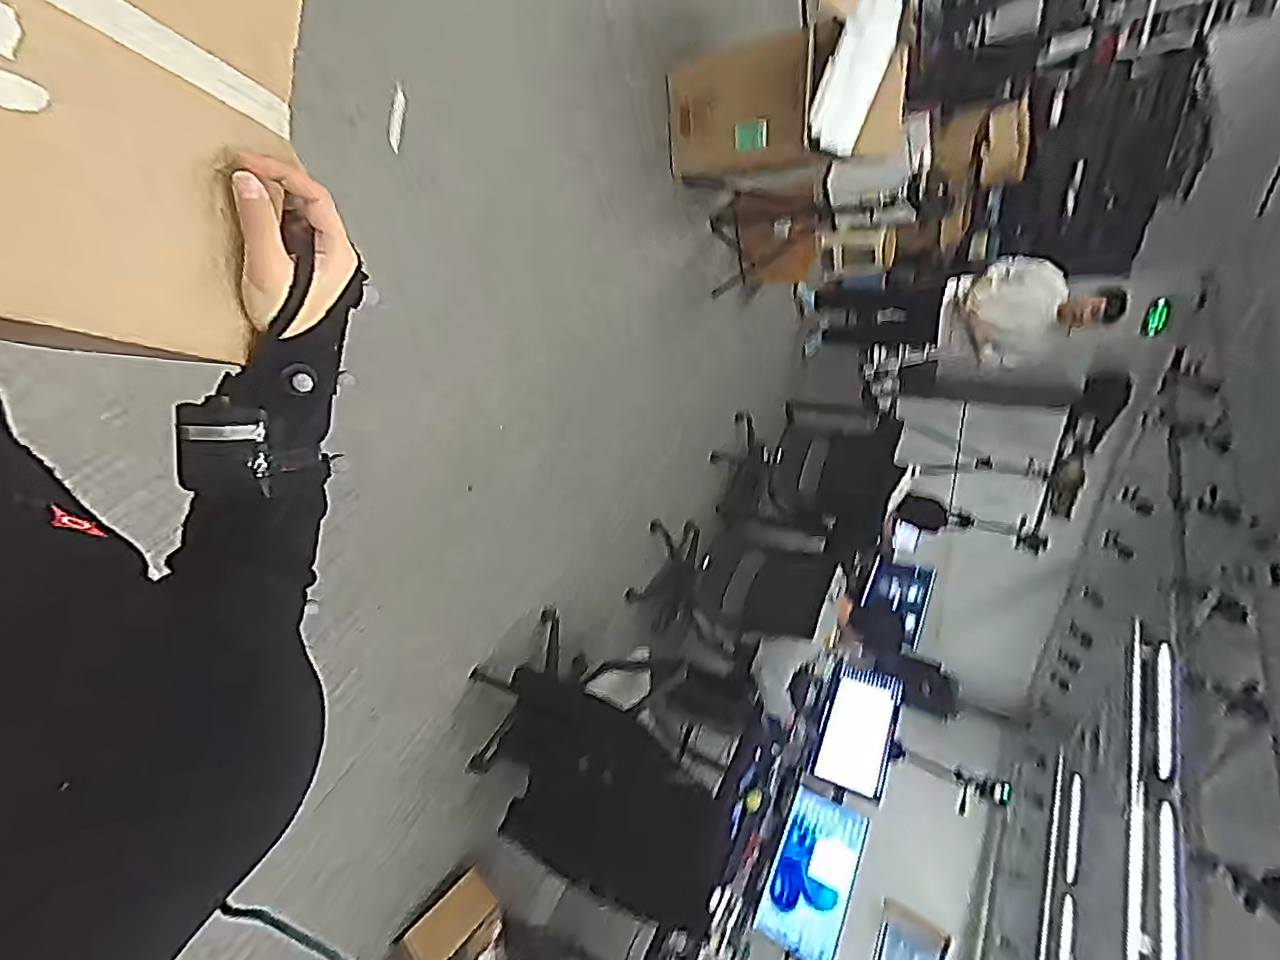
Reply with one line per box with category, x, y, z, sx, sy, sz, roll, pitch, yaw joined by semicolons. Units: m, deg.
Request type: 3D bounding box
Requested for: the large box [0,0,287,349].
large box;-0.459;-0.257;0.238;0.408;0.320;0.320;1;98;-64
